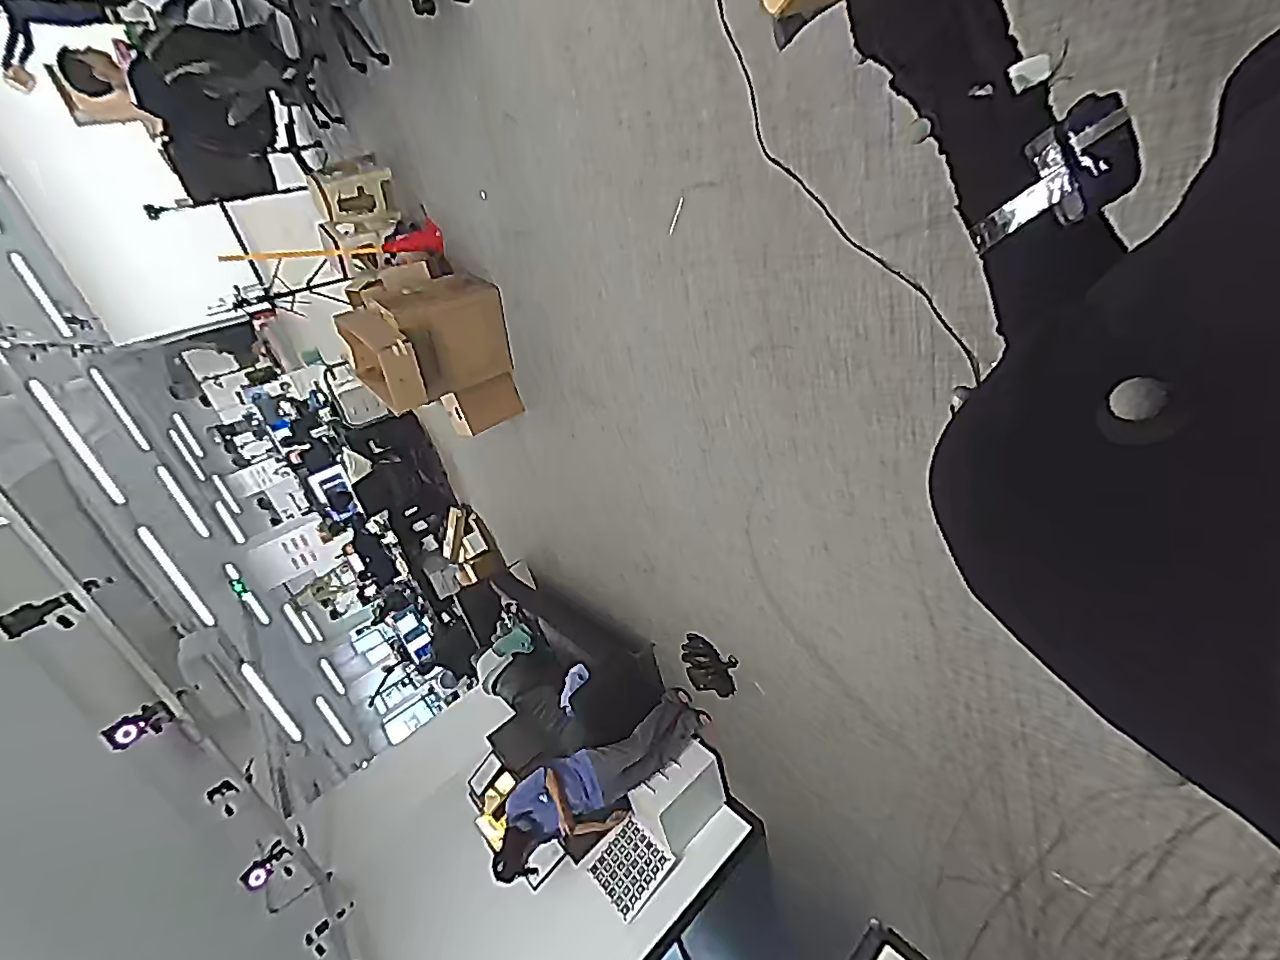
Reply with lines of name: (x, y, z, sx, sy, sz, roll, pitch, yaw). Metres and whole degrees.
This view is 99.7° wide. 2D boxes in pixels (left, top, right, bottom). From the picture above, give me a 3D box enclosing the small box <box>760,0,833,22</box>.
small box: (0.148, -0.467, 0.356, 0.179, 0.176, 0.168, 58, 155, -7)
